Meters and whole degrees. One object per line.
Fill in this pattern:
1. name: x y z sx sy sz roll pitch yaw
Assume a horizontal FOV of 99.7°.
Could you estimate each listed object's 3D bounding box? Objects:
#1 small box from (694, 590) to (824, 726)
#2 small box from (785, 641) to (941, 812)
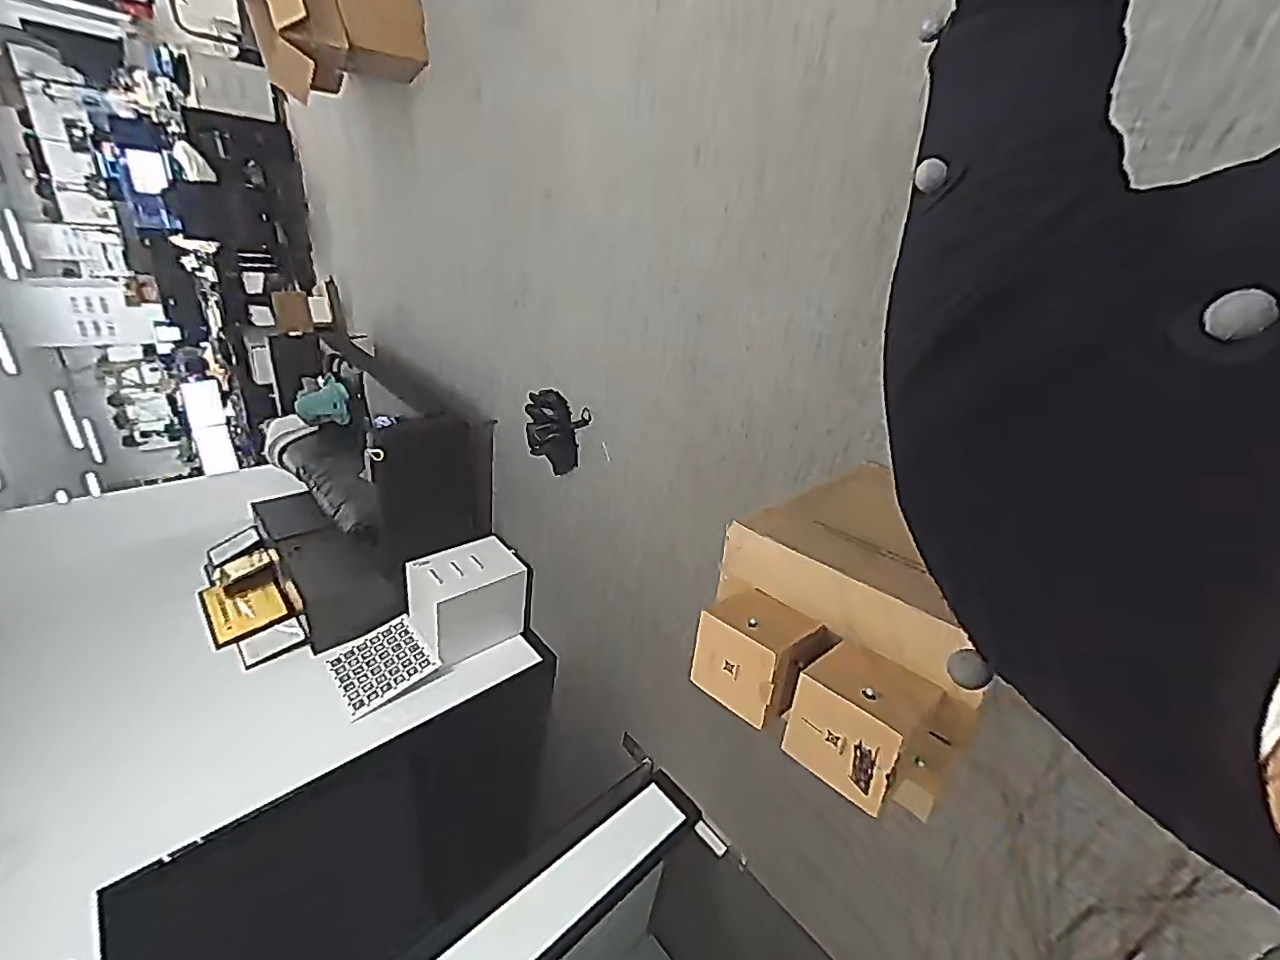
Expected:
1. small box: 0.234 0.335 1.063 0.179 0.176 0.168 23 114 44
2. small box: 0.380 0.401 0.919 0.179 0.176 0.168 25 116 42
